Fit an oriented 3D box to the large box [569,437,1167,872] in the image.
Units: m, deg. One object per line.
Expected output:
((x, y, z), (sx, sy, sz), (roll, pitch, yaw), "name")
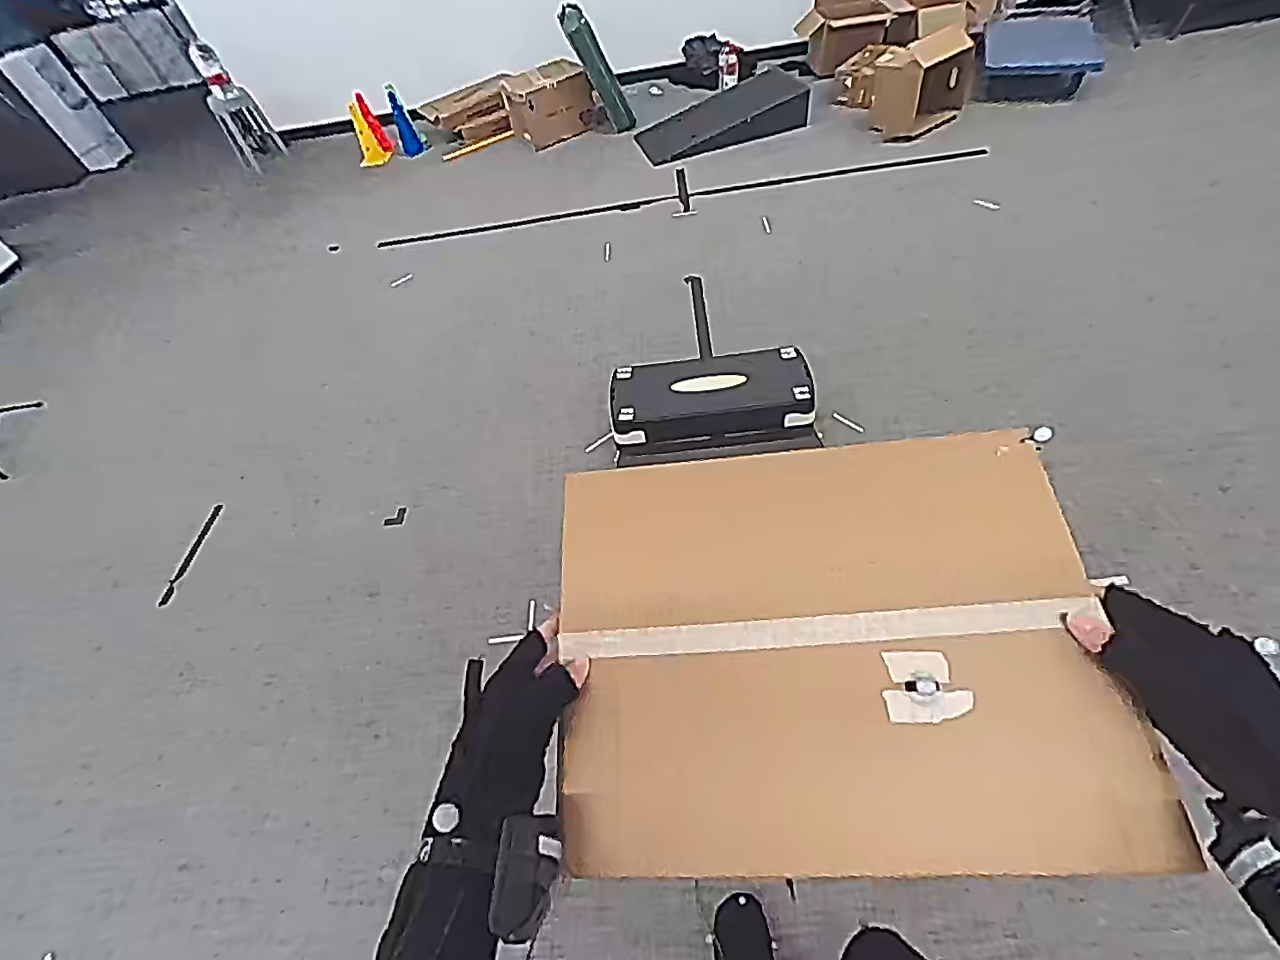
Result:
((0.157, 0.185, 0.564), (0.408, 0.320, 0.320), (-6, 65, 7), "large box")

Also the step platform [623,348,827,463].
((0.282, -0.261, 1.867), (0.684, 0.204, 0.286), (-7, 52, 4), "step platform")
